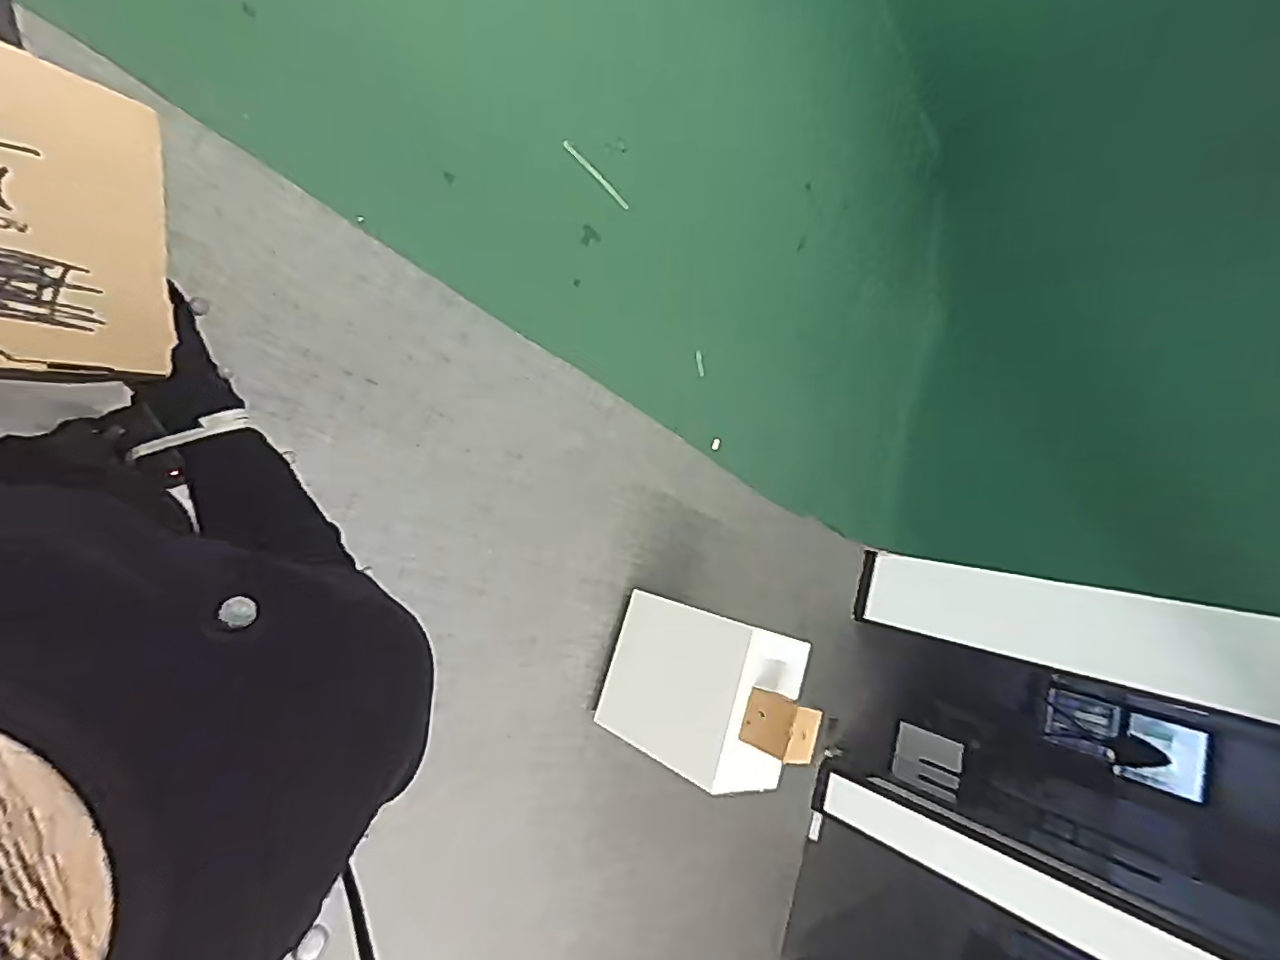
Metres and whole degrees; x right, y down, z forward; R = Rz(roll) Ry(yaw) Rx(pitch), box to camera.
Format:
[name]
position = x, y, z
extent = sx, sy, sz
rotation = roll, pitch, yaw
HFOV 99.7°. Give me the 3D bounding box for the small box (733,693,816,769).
[small box]
position = 0.420, 0.780, 1.685
extent = 0.179, 0.176, 0.168
rotation = 32, 72, -43
